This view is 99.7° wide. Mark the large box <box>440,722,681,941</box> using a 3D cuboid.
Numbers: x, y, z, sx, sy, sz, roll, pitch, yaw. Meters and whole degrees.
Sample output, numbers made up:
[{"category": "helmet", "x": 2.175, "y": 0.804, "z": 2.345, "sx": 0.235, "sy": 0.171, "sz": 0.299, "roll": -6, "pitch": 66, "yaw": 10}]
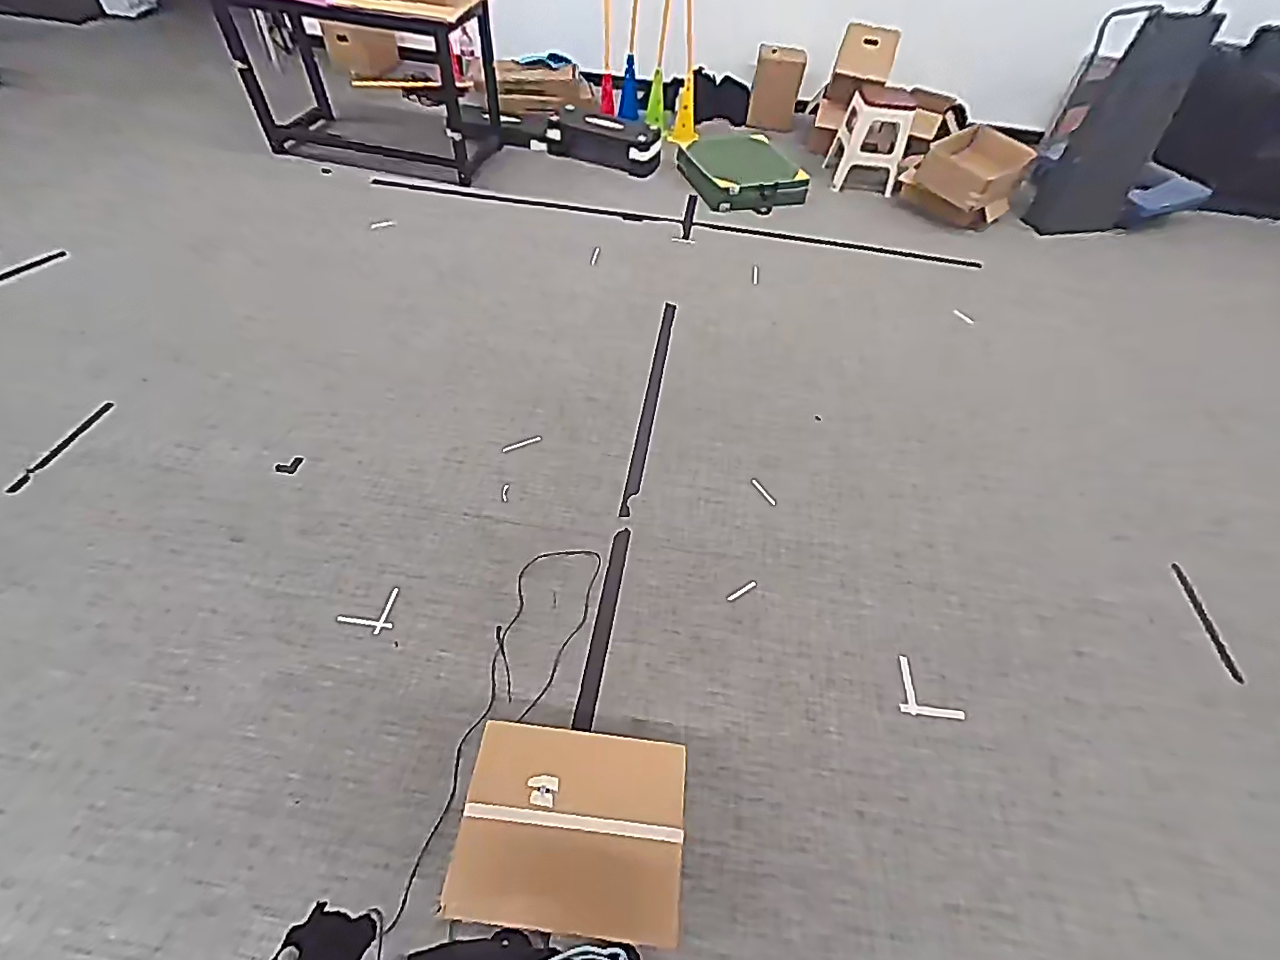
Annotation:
[{"category": "large box", "x": -0.134, "y": 0.718, "z": 1.113, "sx": 0.408, "sy": 0.320, "sz": 0.320, "roll": 7, "pitch": 52, "yaw": 1}]
